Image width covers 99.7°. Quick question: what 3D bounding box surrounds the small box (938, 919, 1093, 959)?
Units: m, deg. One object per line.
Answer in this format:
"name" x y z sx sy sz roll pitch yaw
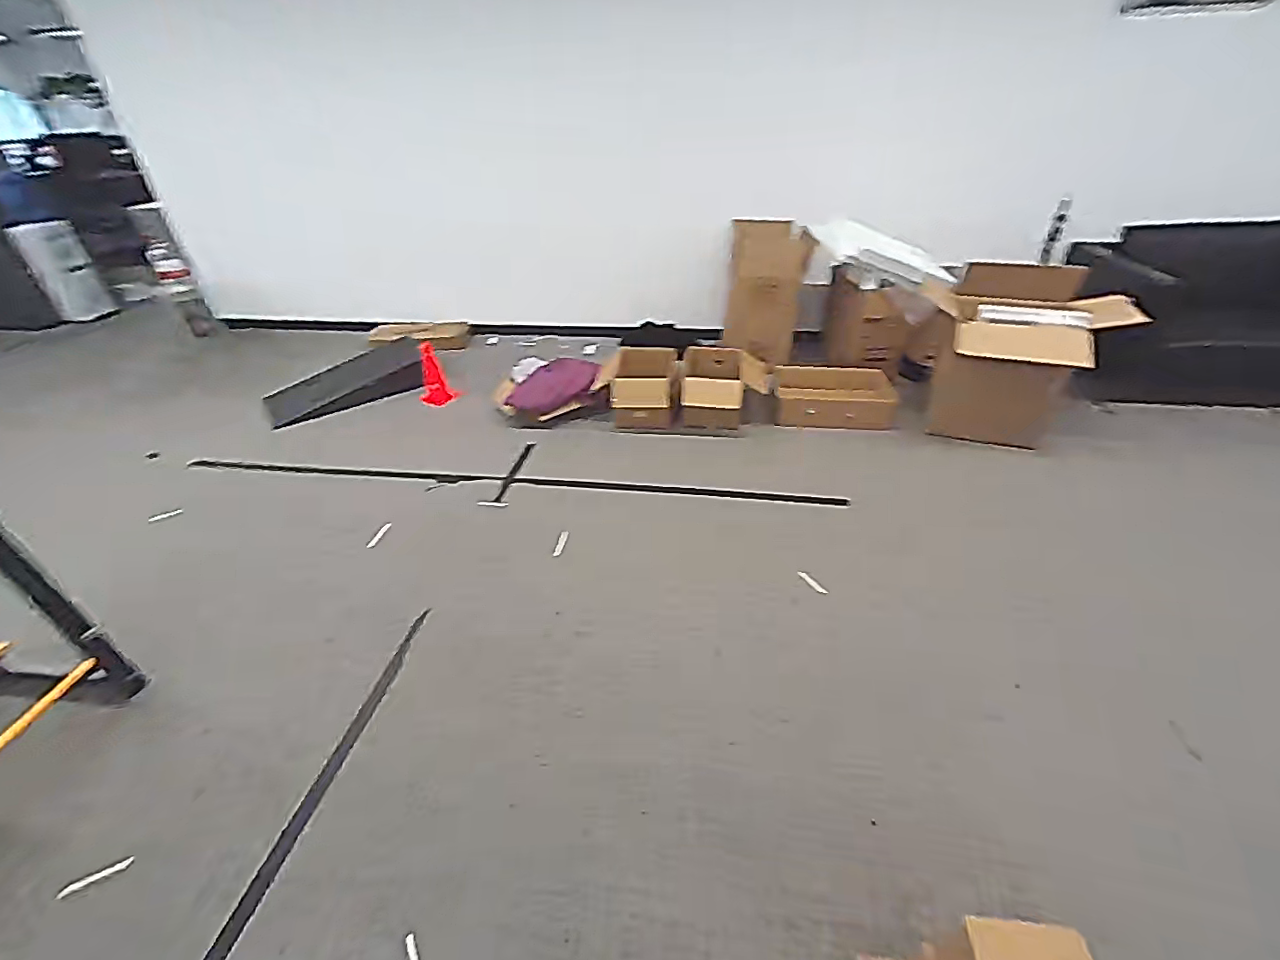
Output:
"small box" 0.602 0.823 0.843 0.179 0.176 0.168 3 36 6
